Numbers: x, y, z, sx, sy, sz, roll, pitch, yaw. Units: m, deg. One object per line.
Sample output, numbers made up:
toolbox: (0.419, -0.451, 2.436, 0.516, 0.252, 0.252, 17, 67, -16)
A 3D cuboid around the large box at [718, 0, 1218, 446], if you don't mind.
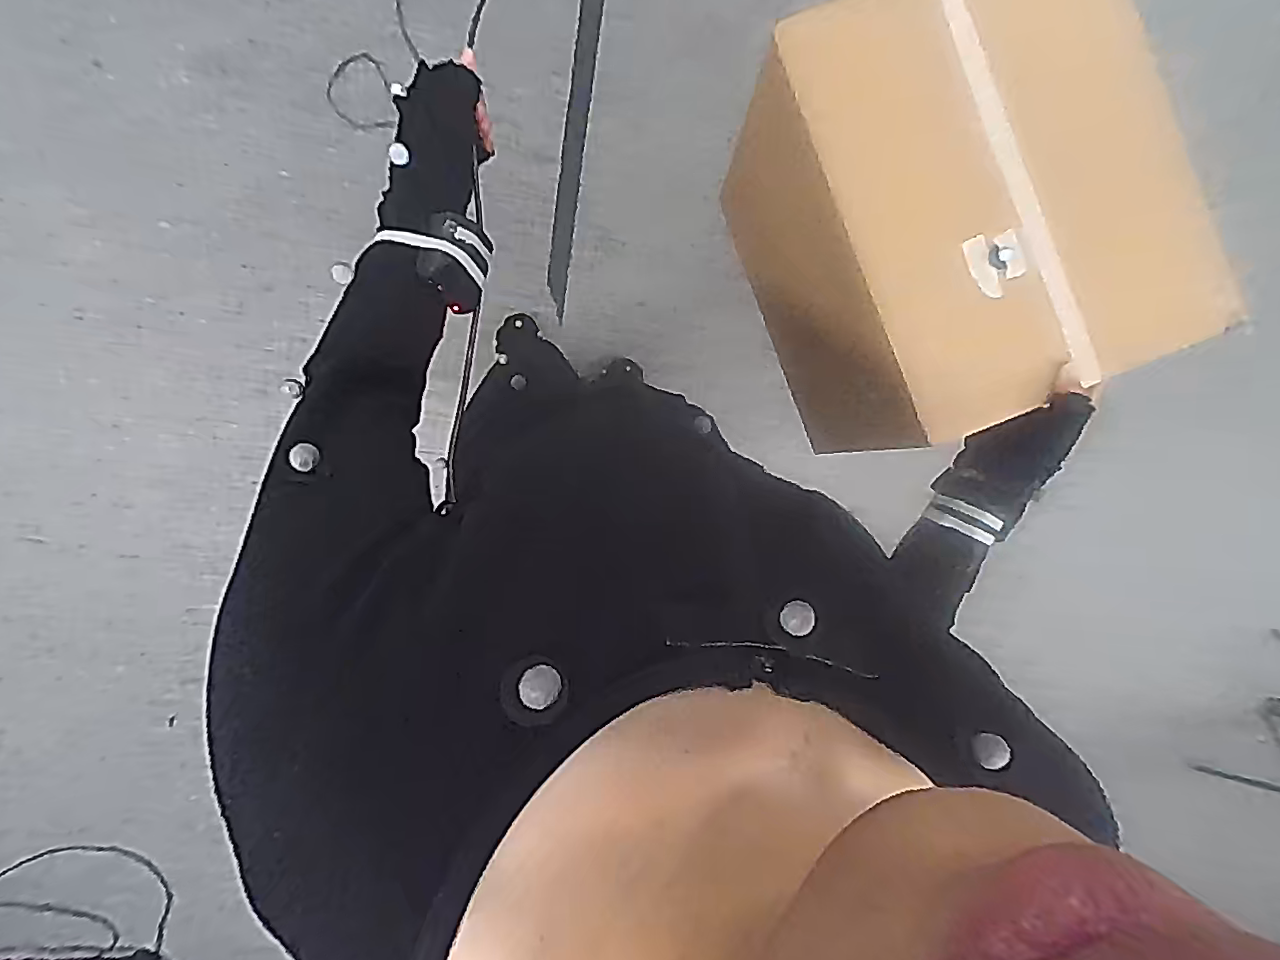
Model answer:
large box: (0.328, -0.283, 0.651, 0.320, 0.320, 0.408, -22, 92, 0)
